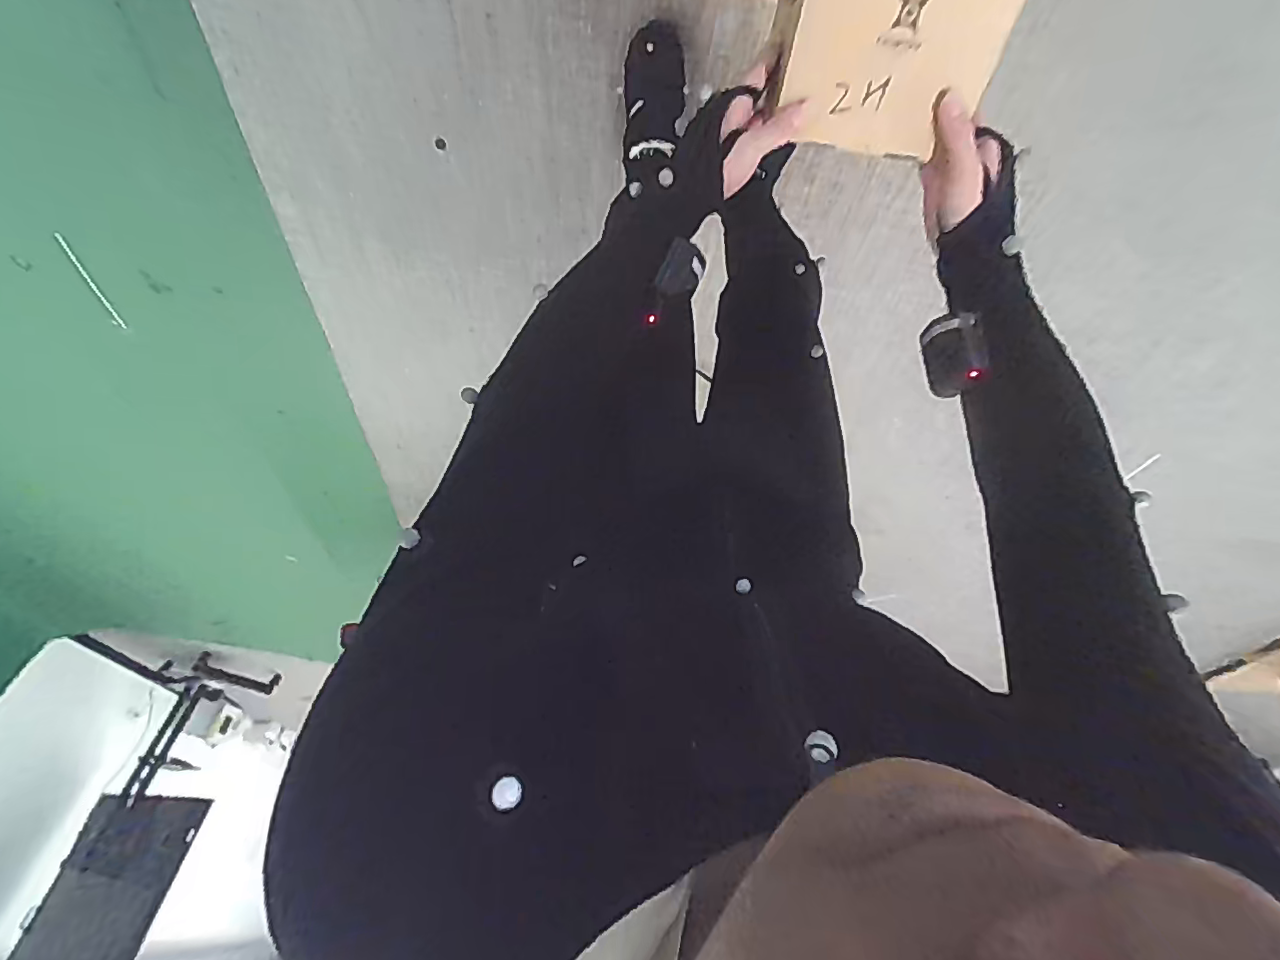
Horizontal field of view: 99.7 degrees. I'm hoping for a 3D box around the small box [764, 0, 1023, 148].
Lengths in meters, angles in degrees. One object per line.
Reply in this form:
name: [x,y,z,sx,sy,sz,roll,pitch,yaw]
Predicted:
small box: [0.211,-0.417,0.469,0.168,0.176,0.179,8,134,-1]
